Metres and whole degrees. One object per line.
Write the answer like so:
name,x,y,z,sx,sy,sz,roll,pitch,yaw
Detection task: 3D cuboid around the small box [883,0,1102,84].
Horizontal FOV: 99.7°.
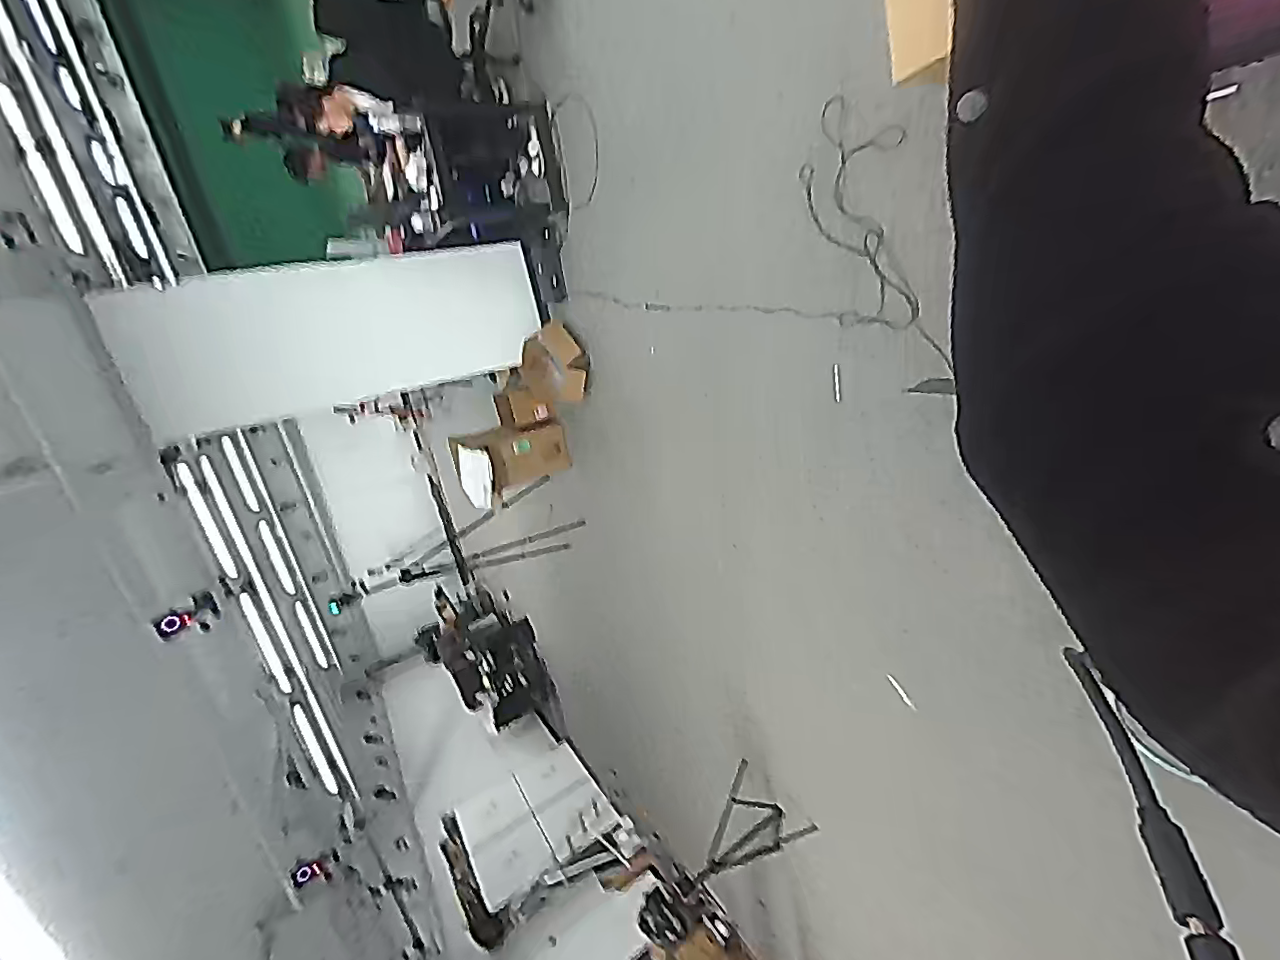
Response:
small box,0.424,-0.614,0.659,0.179,0.176,0.168,10,117,58
